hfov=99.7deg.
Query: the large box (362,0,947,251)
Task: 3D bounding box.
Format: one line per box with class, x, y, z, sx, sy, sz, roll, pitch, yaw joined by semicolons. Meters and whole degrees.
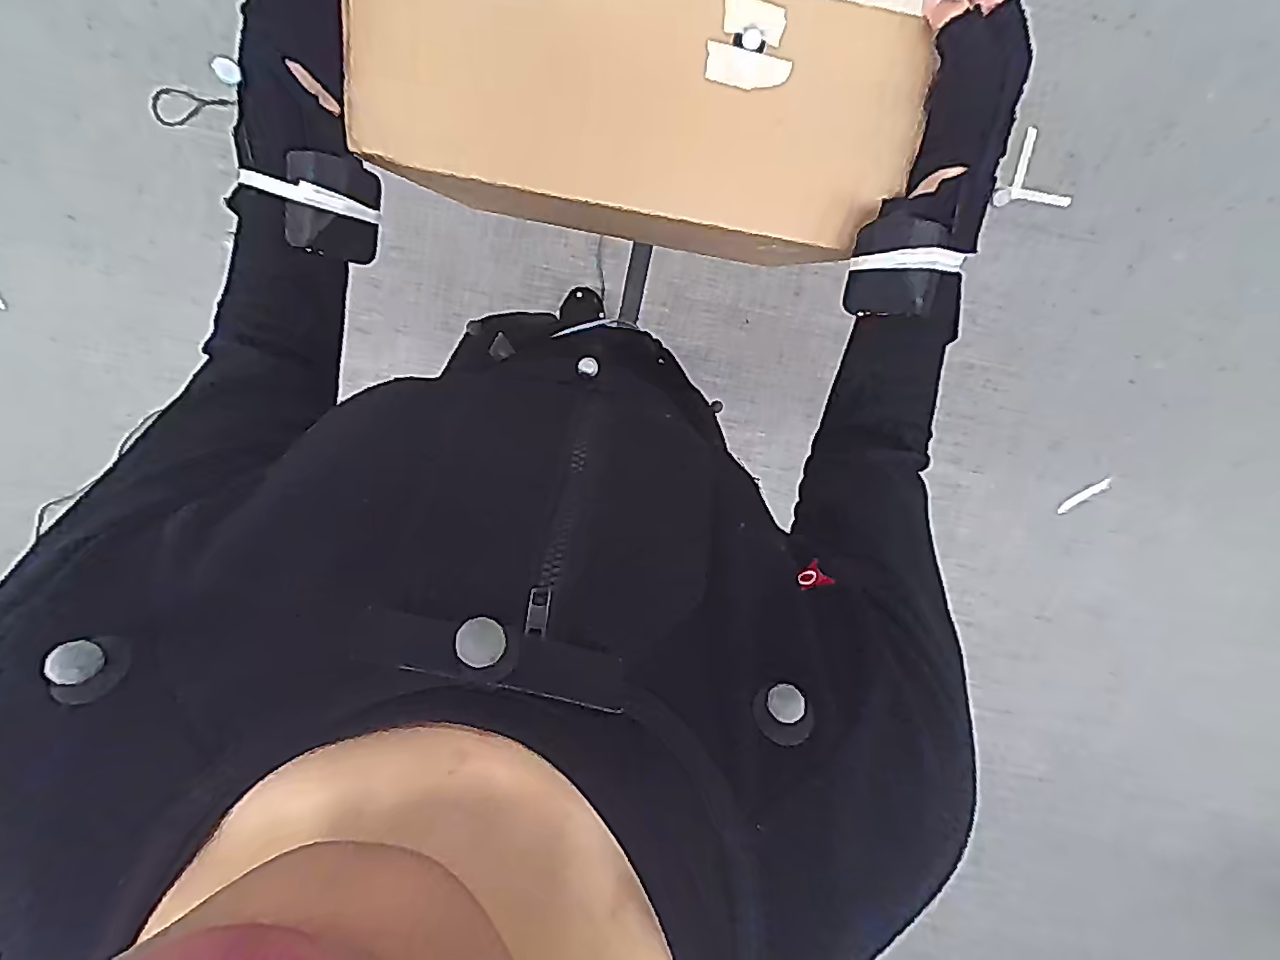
large box;0.011;-0.411;0.497;0.408;0.320;0.320;8;111;-6
